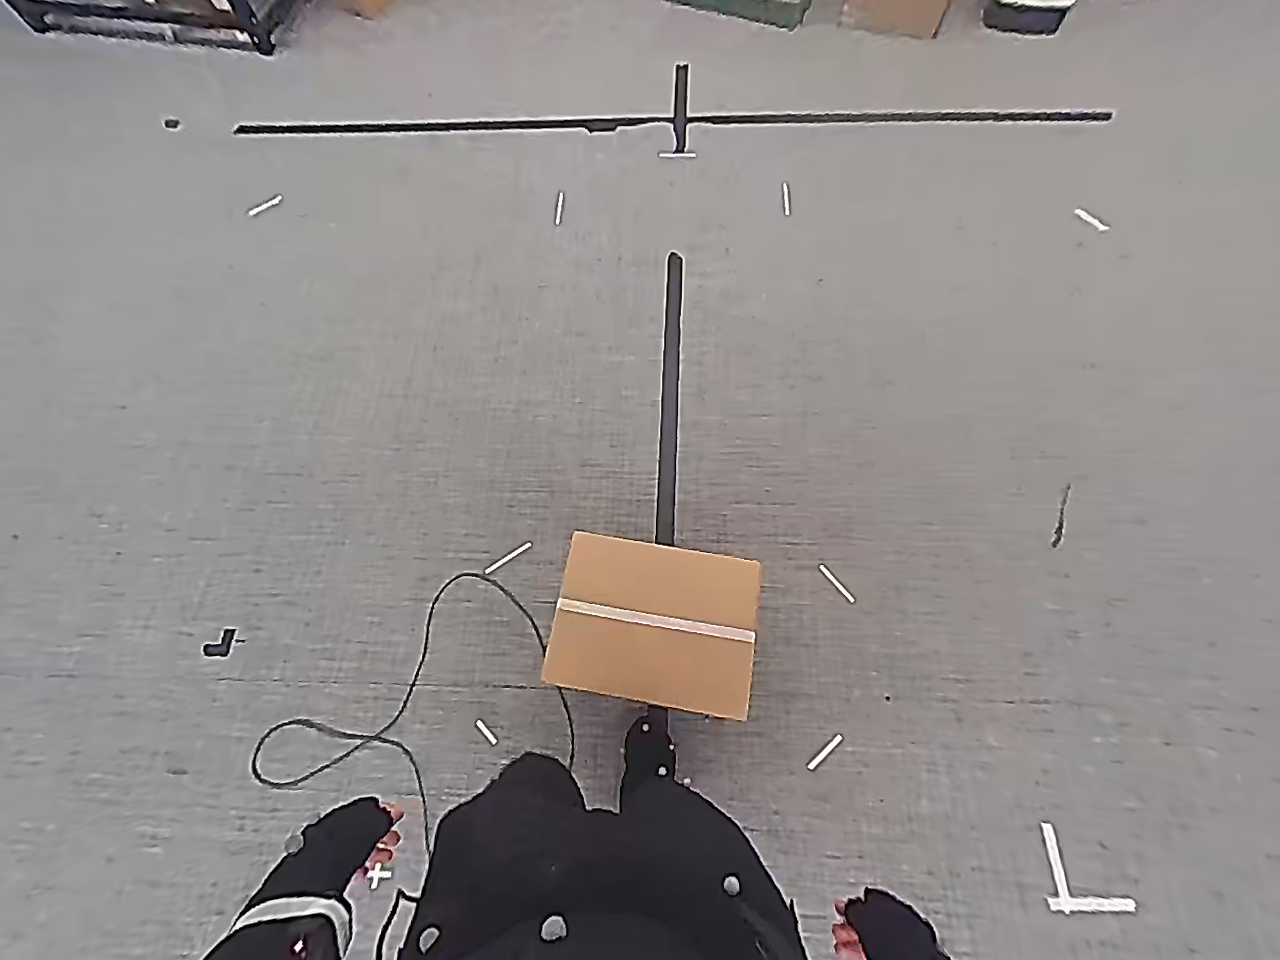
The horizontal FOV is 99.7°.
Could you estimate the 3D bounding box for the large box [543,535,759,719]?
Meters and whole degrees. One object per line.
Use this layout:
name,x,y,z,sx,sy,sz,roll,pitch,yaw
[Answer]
large box,0.034,0.337,1.225,0.408,0.320,0.320,9,68,5
